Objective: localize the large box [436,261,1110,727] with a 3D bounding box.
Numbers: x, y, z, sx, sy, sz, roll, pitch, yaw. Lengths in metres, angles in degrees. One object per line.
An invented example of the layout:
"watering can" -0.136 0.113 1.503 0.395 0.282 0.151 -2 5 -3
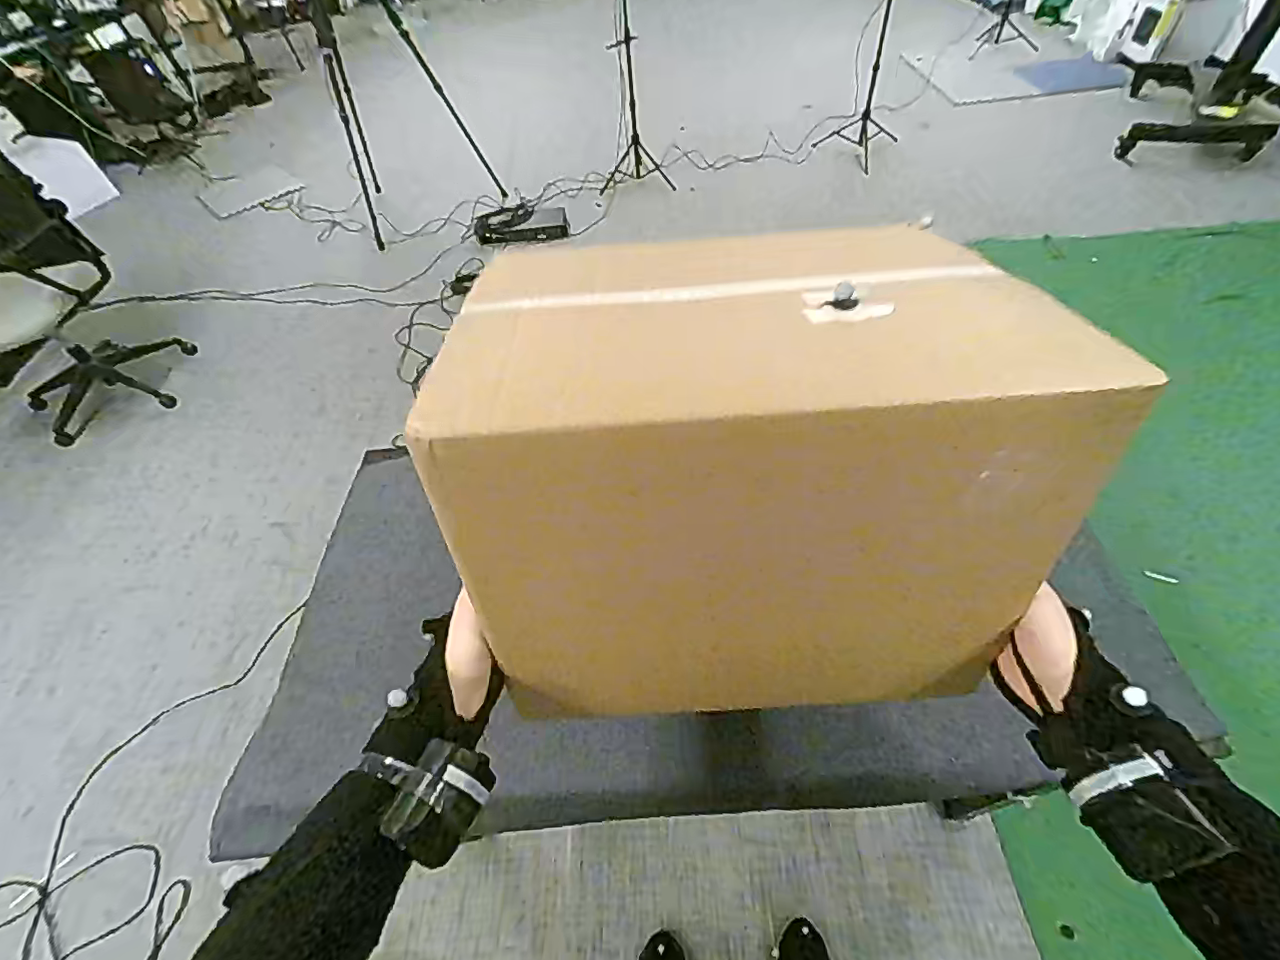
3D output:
"large box" 0.077 0.003 0.518 0.408 0.320 0.320 -4 39 0
